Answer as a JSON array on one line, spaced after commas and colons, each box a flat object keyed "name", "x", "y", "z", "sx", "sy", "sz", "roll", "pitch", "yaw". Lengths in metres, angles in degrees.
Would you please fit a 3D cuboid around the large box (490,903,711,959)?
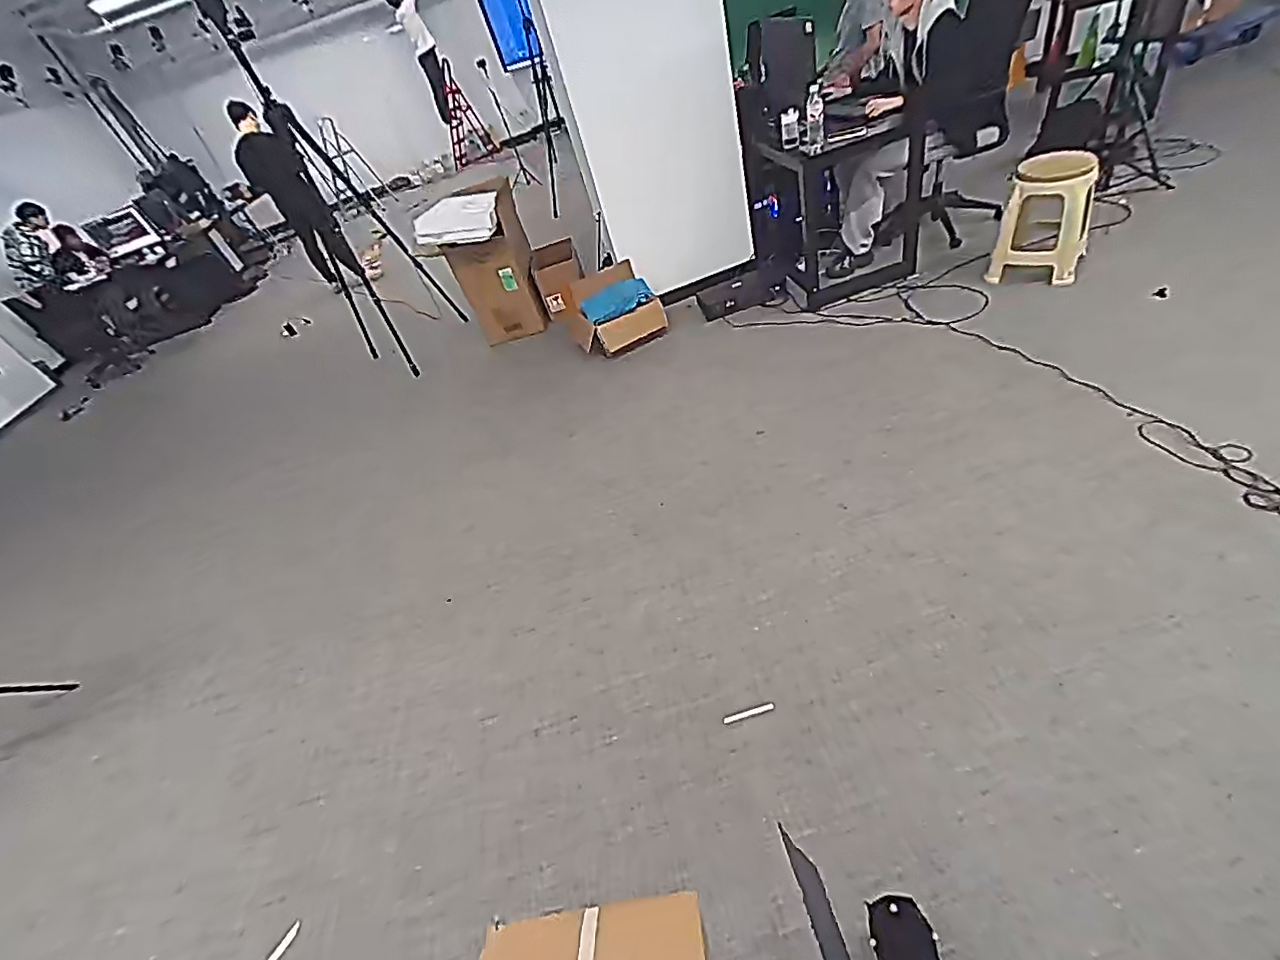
[{"name": "large box", "x": -0.035, "y": 0.801, "z": 0.601, "sx": 0.320, "sy": 0.320, "sz": 0.408, "roll": -10, "pitch": 3, "yaw": 2}]
